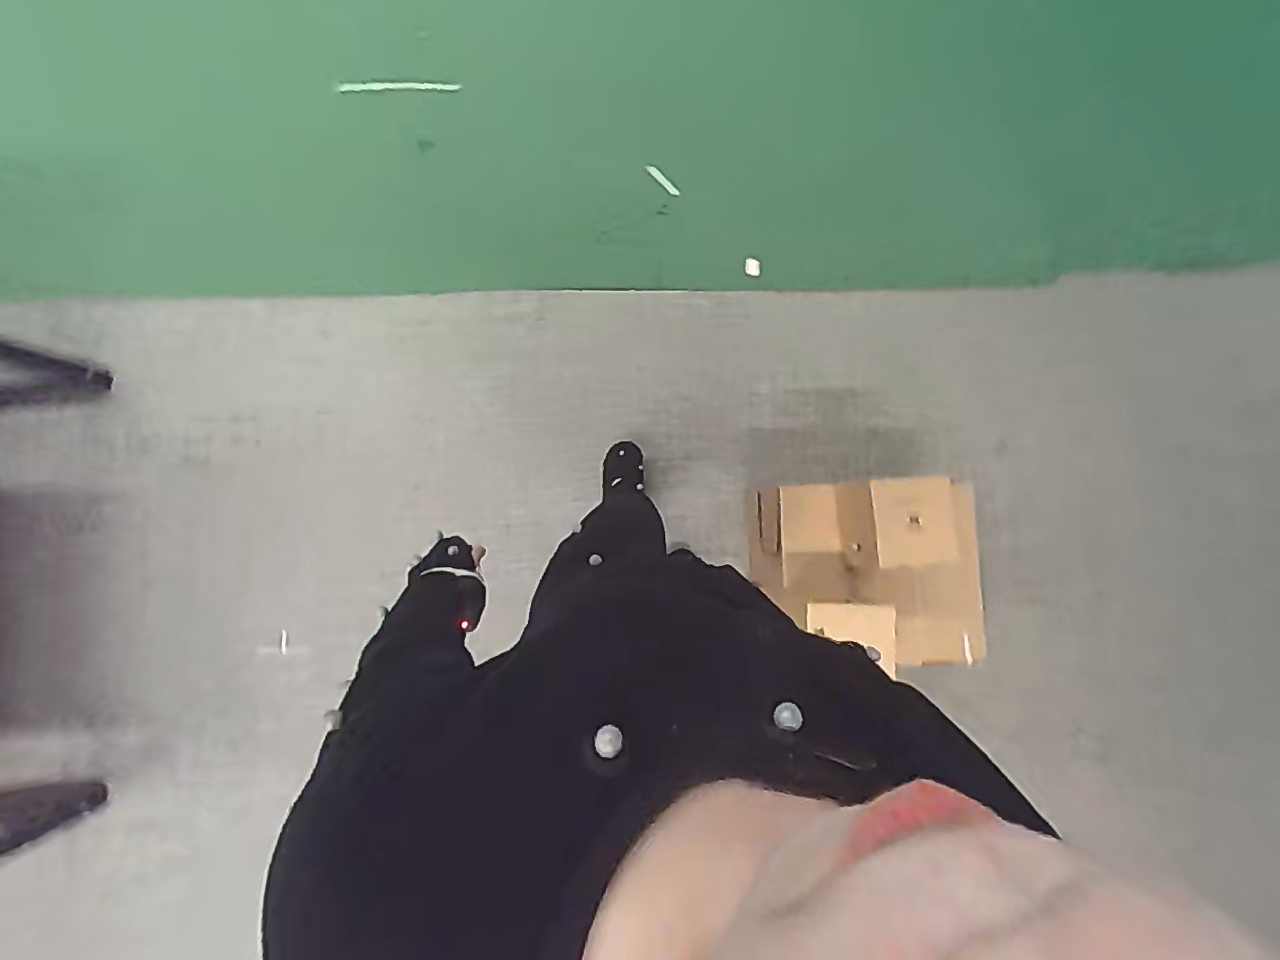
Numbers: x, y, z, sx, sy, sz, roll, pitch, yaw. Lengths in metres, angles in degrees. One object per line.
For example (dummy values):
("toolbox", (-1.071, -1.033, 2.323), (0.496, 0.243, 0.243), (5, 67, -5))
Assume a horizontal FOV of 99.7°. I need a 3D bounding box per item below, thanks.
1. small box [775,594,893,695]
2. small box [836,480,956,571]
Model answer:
("small box", (0.390, 0.327, 1.104), (0.179, 0.176, 0.168), (3, 85, -3))
("small box", (0.528, 0.095, 1.137), (0.168, 0.176, 0.179), (-2, 83, -4))
